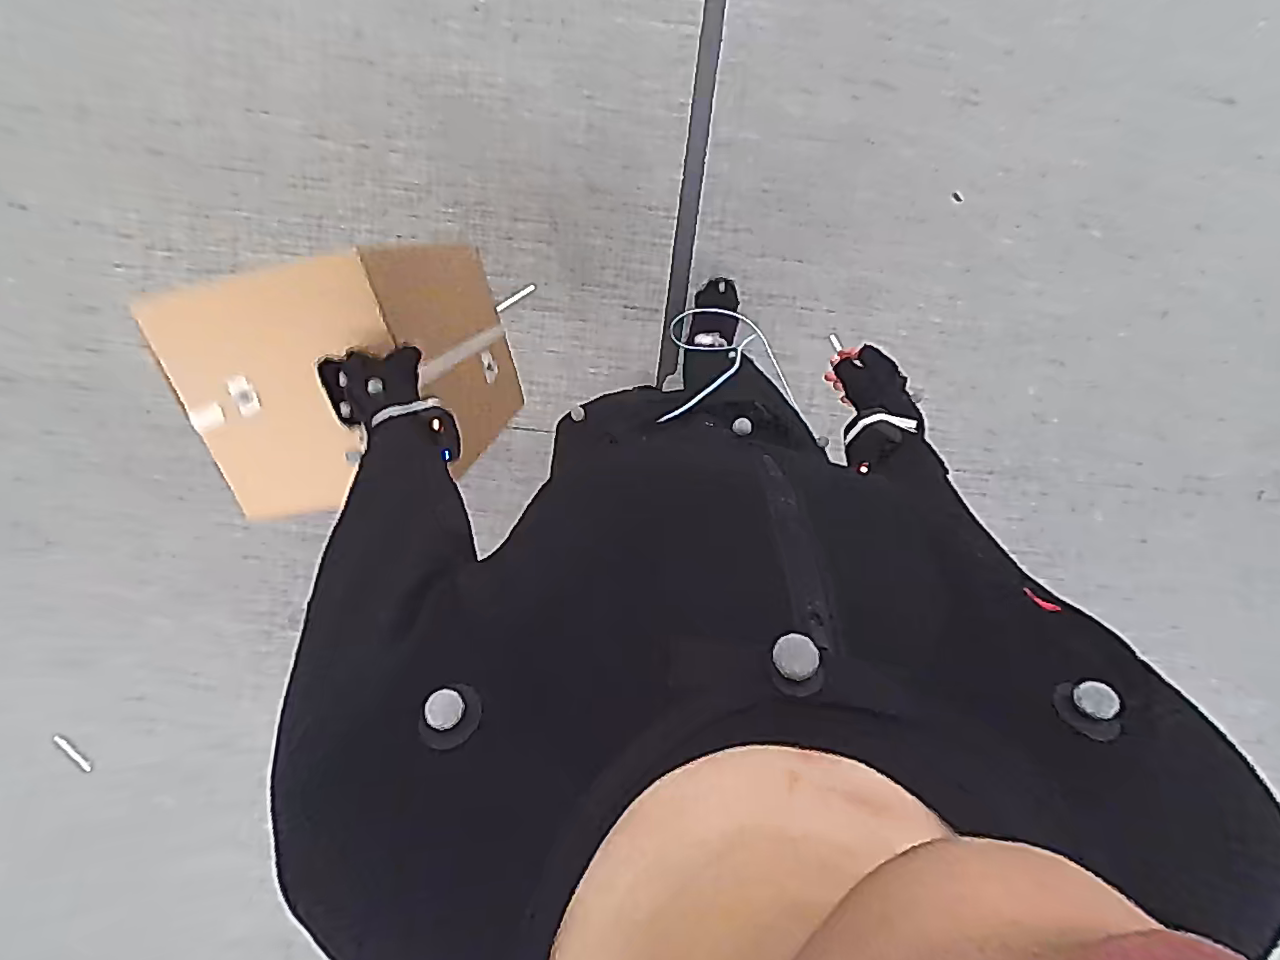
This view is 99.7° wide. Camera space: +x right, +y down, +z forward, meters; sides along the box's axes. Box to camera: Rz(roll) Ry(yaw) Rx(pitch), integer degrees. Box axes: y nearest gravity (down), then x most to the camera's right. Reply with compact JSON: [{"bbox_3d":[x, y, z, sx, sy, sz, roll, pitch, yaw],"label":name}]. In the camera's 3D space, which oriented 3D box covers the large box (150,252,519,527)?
[{"bbox_3d":[-0.441,-0.171,0.898,0.320,0.408,0.320,-10,114,8],"label":"large box"}]
